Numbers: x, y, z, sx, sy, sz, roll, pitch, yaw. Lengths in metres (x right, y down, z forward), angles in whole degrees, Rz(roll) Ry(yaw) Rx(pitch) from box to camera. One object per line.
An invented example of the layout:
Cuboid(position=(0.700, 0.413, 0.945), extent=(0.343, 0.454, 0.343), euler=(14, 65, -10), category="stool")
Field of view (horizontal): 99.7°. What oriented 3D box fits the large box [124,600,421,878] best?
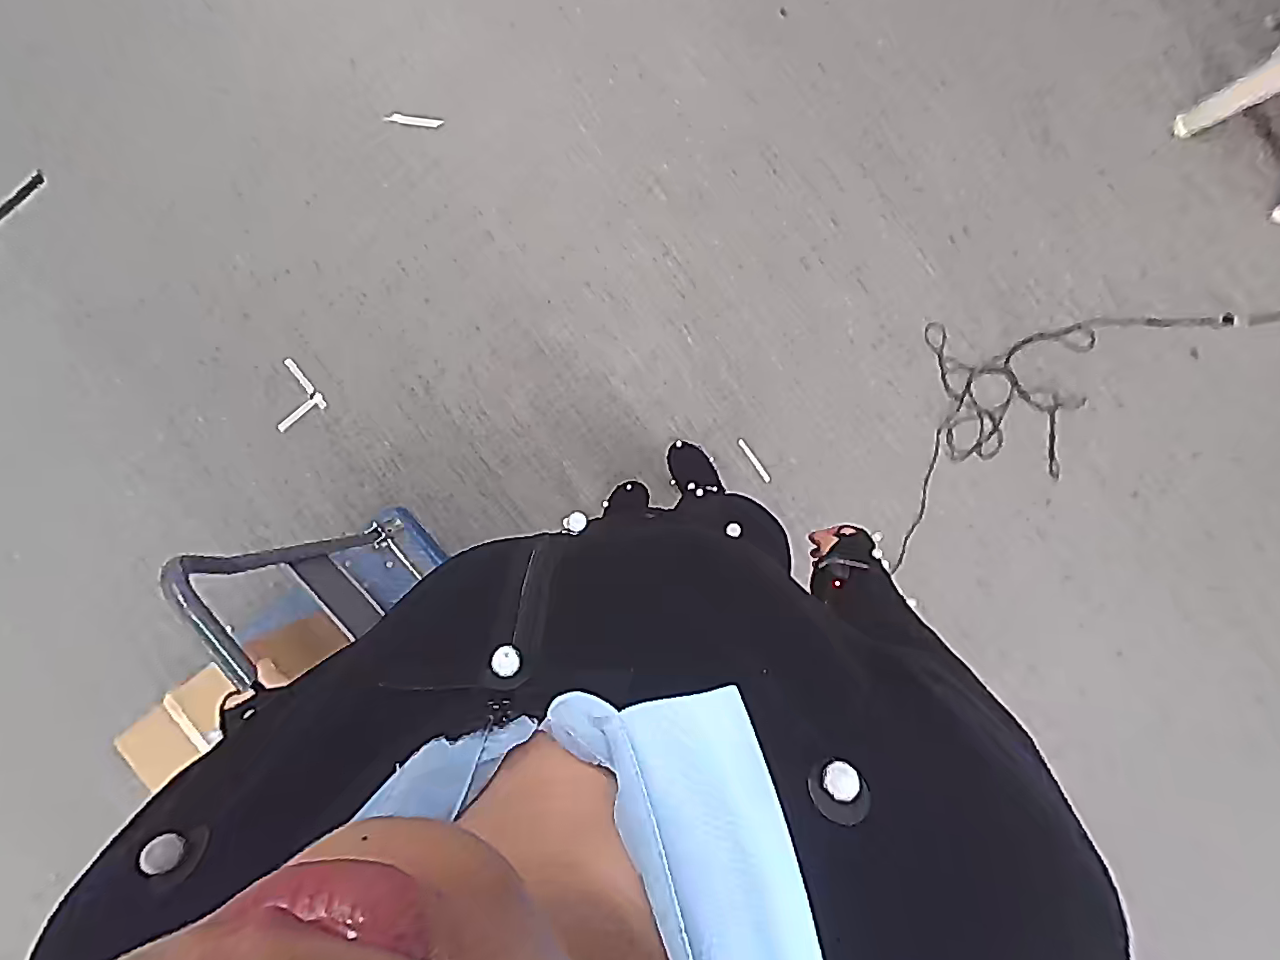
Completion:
Cuboid(position=(-0.792, 0.551, 1.227), extent=(0.320, 0.320, 0.408), euler=(-38, 91, 3), category="large box")
